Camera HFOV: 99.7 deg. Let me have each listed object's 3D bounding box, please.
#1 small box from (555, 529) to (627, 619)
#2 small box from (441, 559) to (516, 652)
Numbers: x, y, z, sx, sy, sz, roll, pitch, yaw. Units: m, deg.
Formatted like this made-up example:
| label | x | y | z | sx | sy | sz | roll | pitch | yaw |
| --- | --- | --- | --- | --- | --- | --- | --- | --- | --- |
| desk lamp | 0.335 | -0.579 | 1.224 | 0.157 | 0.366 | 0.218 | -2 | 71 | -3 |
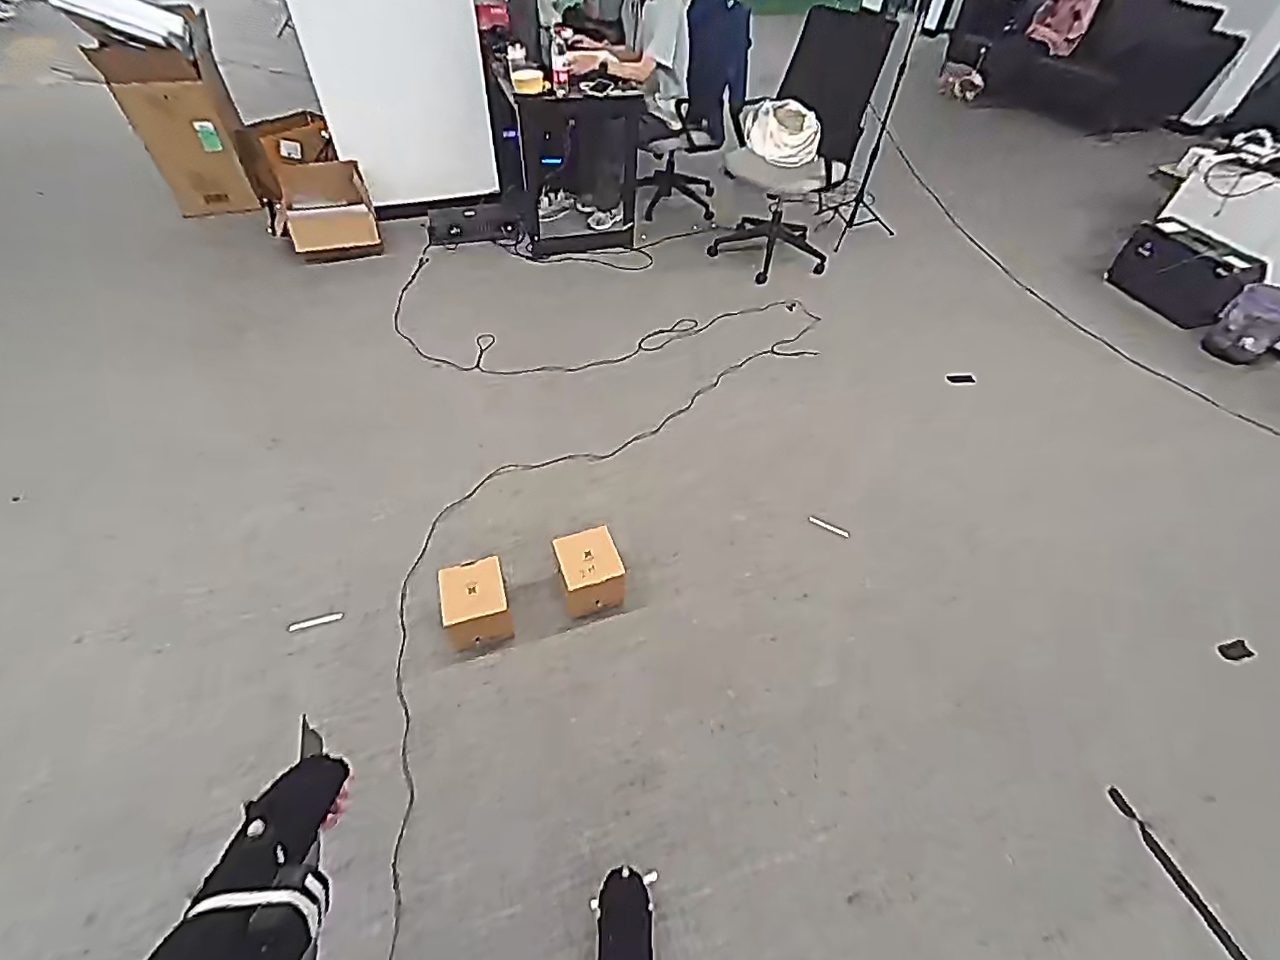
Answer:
| label | x | y | z | sx | sy | sz | roll | pitch | yaw |
| --- | --- | --- | --- | --- | --- | --- | --- | --- | --- |
| small box | -0.146 | 0.277 | 1.584 | 0.168 | 0.176 | 0.179 | -15 | 52 | -15 |
| small box | -0.449 | 0.351 | 1.505 | 0.168 | 0.176 | 0.179 | -12 | 52 | -12 |
